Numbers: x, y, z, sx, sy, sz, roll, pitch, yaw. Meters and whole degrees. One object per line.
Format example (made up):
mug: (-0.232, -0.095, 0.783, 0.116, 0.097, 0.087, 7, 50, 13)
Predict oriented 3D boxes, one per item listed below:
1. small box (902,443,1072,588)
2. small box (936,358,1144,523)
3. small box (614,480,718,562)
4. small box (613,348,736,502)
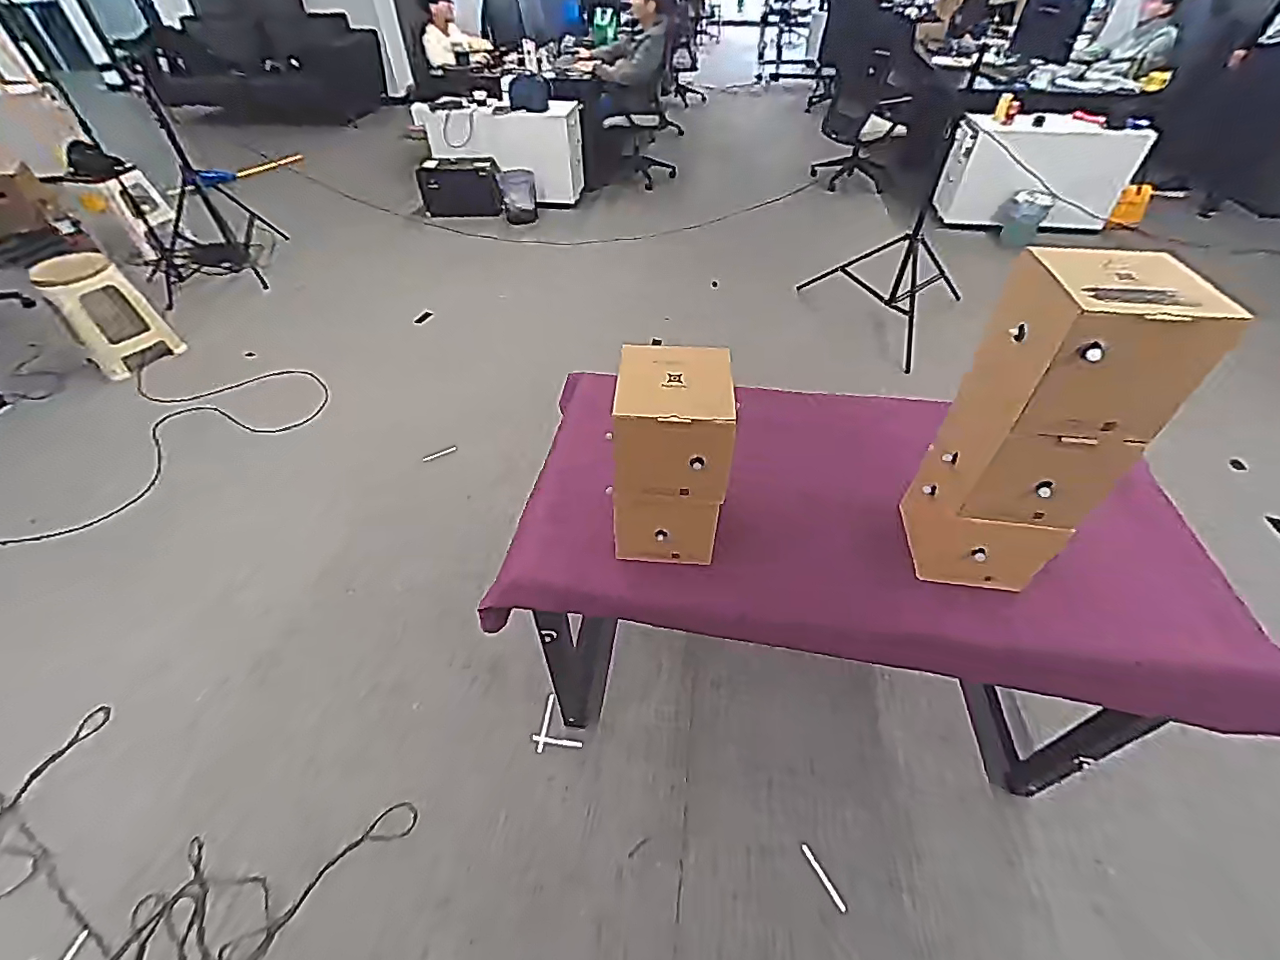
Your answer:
small box: (0.565, 0.062, 0.911, 0.168, 0.176, 0.179, 6, 46, 6)
small box: (0.565, -0.056, 0.797, 0.168, 0.176, 0.179, 6, 46, 7)
small box: (0.048, 0.026, 0.944, 0.168, 0.176, 0.179, 3, 45, 3)
small box: (0.050, -0.082, 0.822, 0.168, 0.176, 0.179, 2, 45, 1)
